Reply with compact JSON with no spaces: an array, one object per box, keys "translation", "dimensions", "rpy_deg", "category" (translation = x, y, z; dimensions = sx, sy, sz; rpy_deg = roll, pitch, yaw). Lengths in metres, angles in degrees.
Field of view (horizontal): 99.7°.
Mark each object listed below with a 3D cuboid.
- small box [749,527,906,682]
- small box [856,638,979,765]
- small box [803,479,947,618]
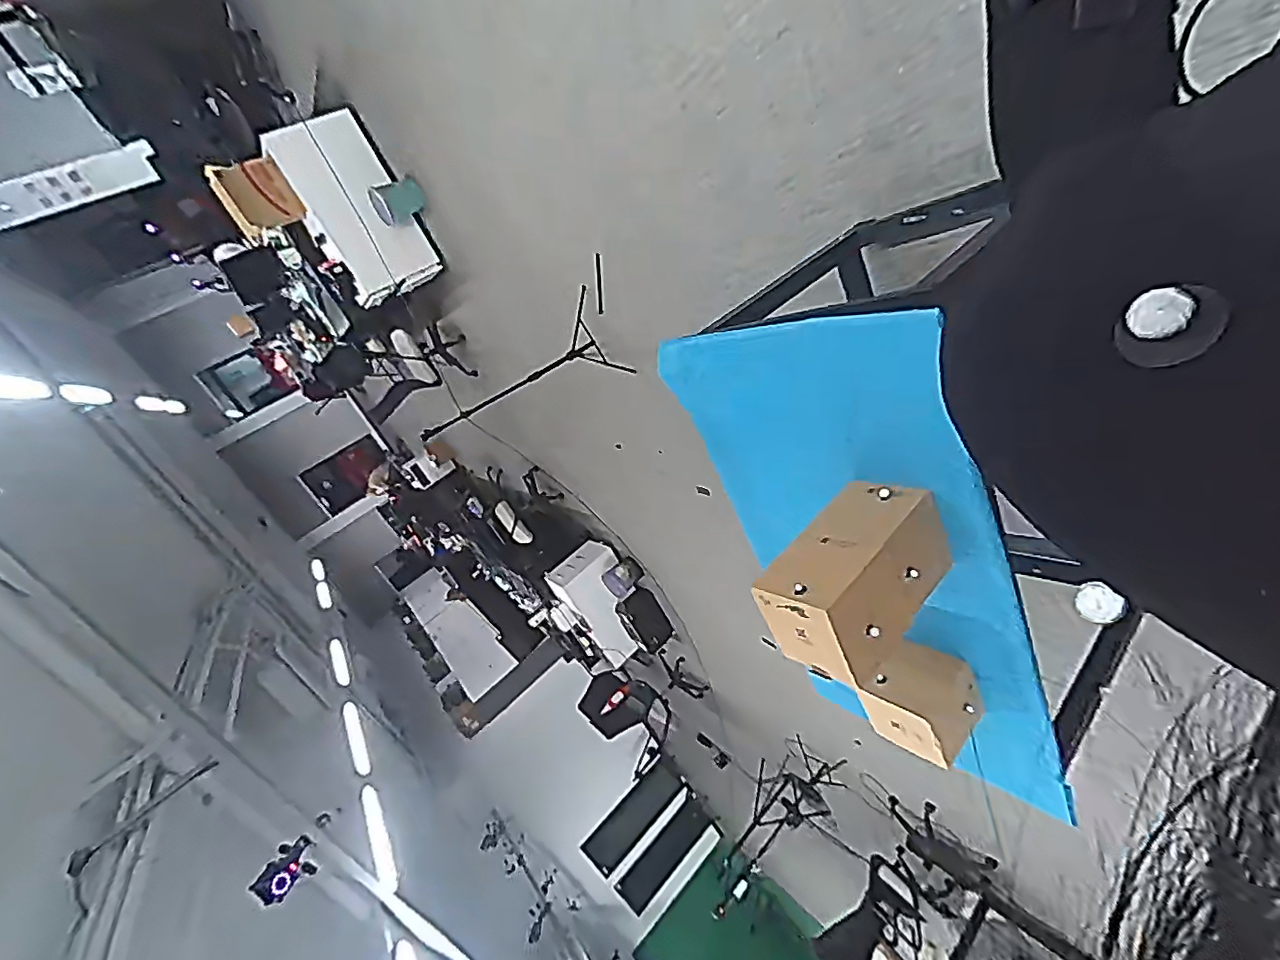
[{"translation":[0.331,0.208,0.945],"dimensions":[0.168,0.176,0.179],"rpy_deg":[4,127,60],"category":"small box"},{"translation":[0.625,0.485,1.216],"dimensions":[0.179,0.176,0.168],"rpy_deg":[10,135,54],"category":"small box"},{"translation":[0.447,0.121,1.019],"dimensions":[0.168,0.176,0.179],"rpy_deg":[9,133,57],"category":"small box"}]
